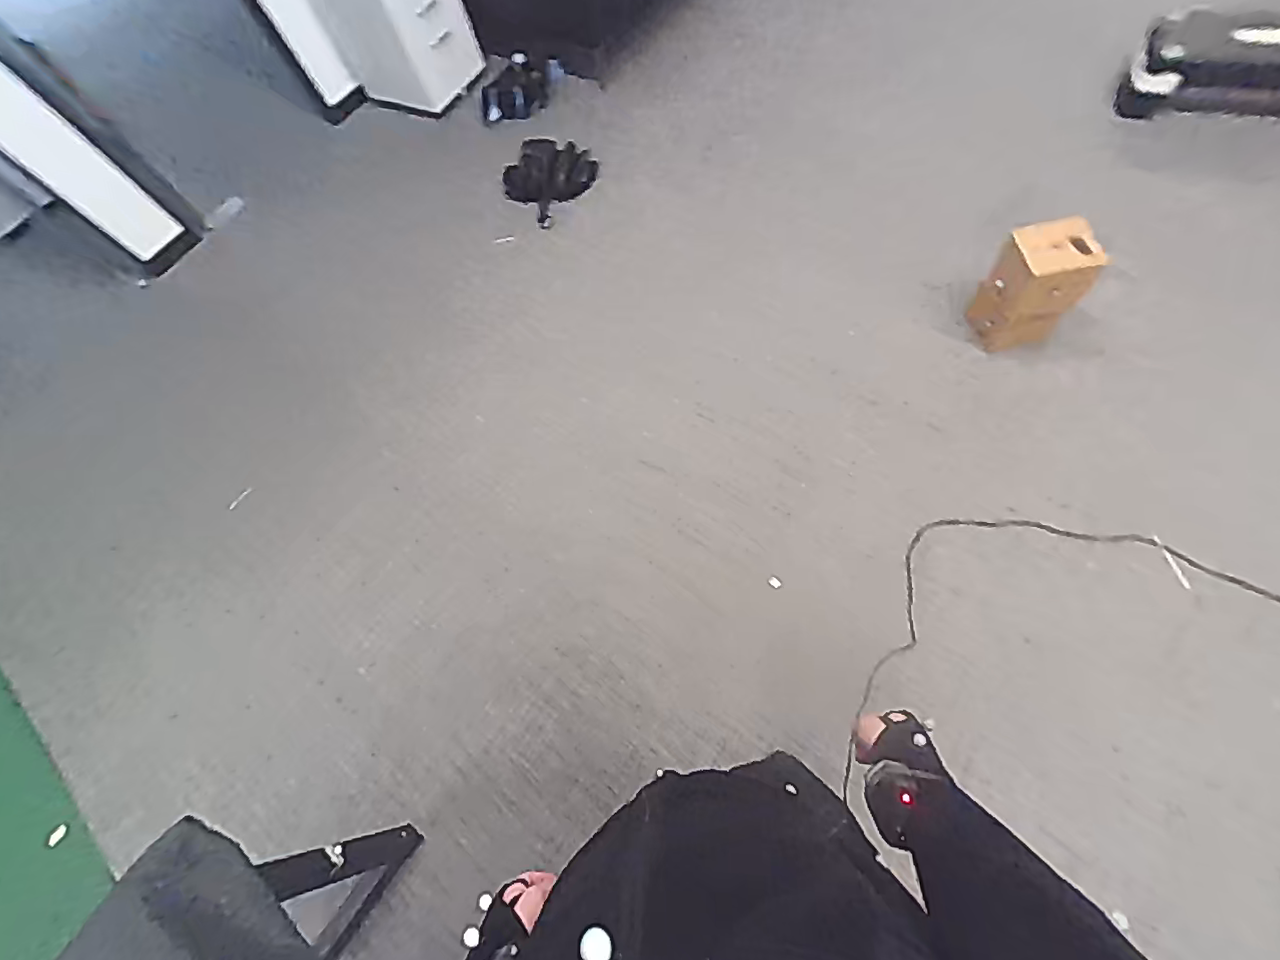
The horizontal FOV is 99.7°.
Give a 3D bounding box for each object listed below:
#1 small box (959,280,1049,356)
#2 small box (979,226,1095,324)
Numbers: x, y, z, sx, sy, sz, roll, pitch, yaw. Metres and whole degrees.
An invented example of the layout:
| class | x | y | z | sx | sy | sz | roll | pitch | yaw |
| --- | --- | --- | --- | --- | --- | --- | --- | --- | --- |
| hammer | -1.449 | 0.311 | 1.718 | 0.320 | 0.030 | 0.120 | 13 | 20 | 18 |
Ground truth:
| class | x | y | z | sx | sy | sz | roll | pitch | yaw |
| --- | --- | --- | --- | --- | --- | --- | --- | --- | --- |
| small box | 1.092 | -0.497 | 1.622 | 0.179 | 0.176 | 0.168 | -14 | 63 | 3 |
| small box | 1.065 | -0.550 | 1.468 | 0.179 | 0.176 | 0.168 | -9 | 64 | 8 |
